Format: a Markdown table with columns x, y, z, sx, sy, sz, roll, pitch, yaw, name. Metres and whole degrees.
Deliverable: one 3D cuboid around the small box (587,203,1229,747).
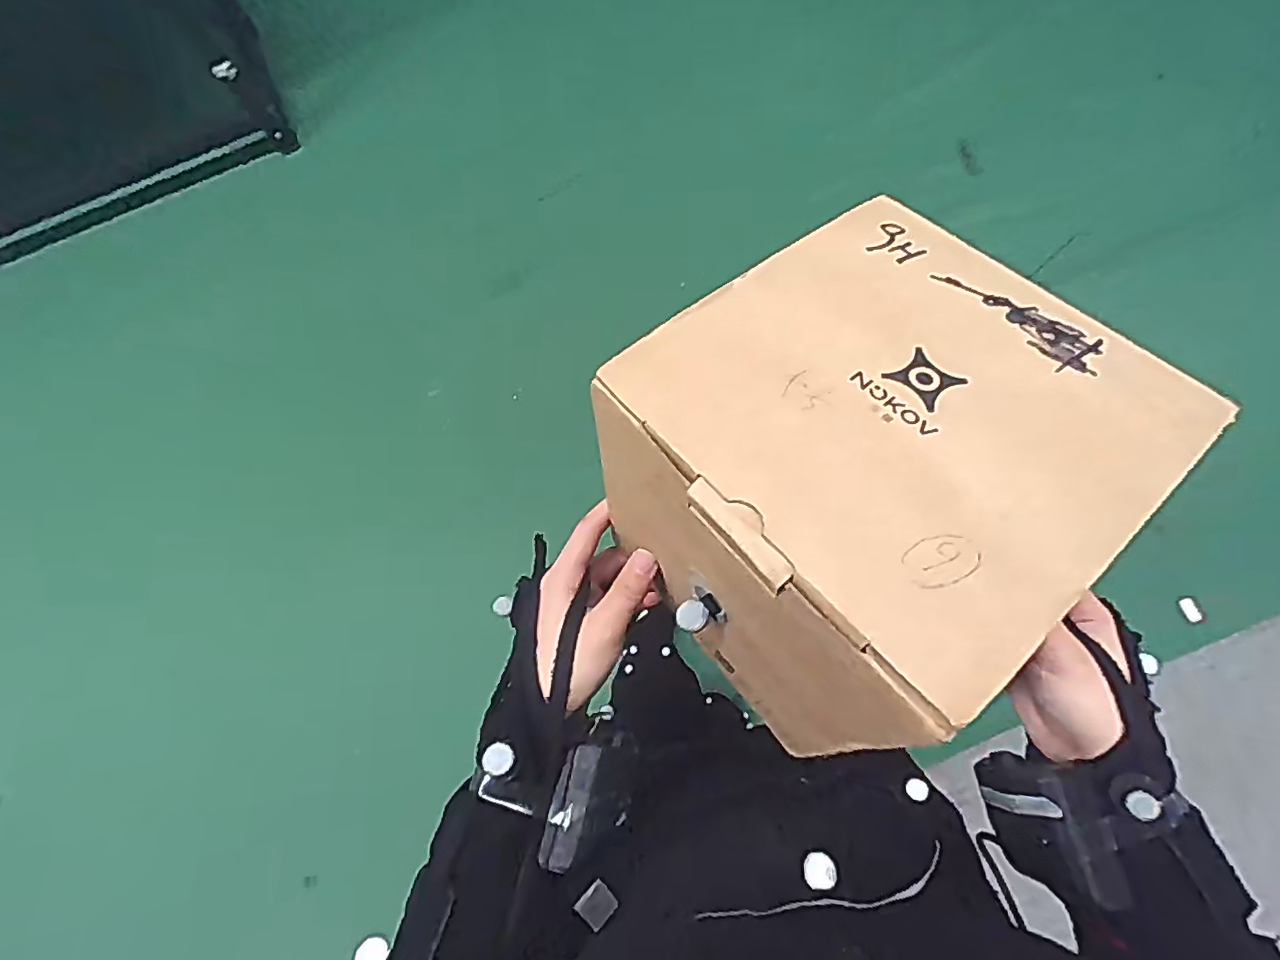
| x | y | z | sx | sy | sz | roll | pitch | yaw | name |
| --- | --- | --- | --- | --- | --- | --- | --- | --- | --- |
| 0.098 | 0.009 | 0.272 | 0.179 | 0.176 | 0.168 | -35 | 66 | -16 | small box |
